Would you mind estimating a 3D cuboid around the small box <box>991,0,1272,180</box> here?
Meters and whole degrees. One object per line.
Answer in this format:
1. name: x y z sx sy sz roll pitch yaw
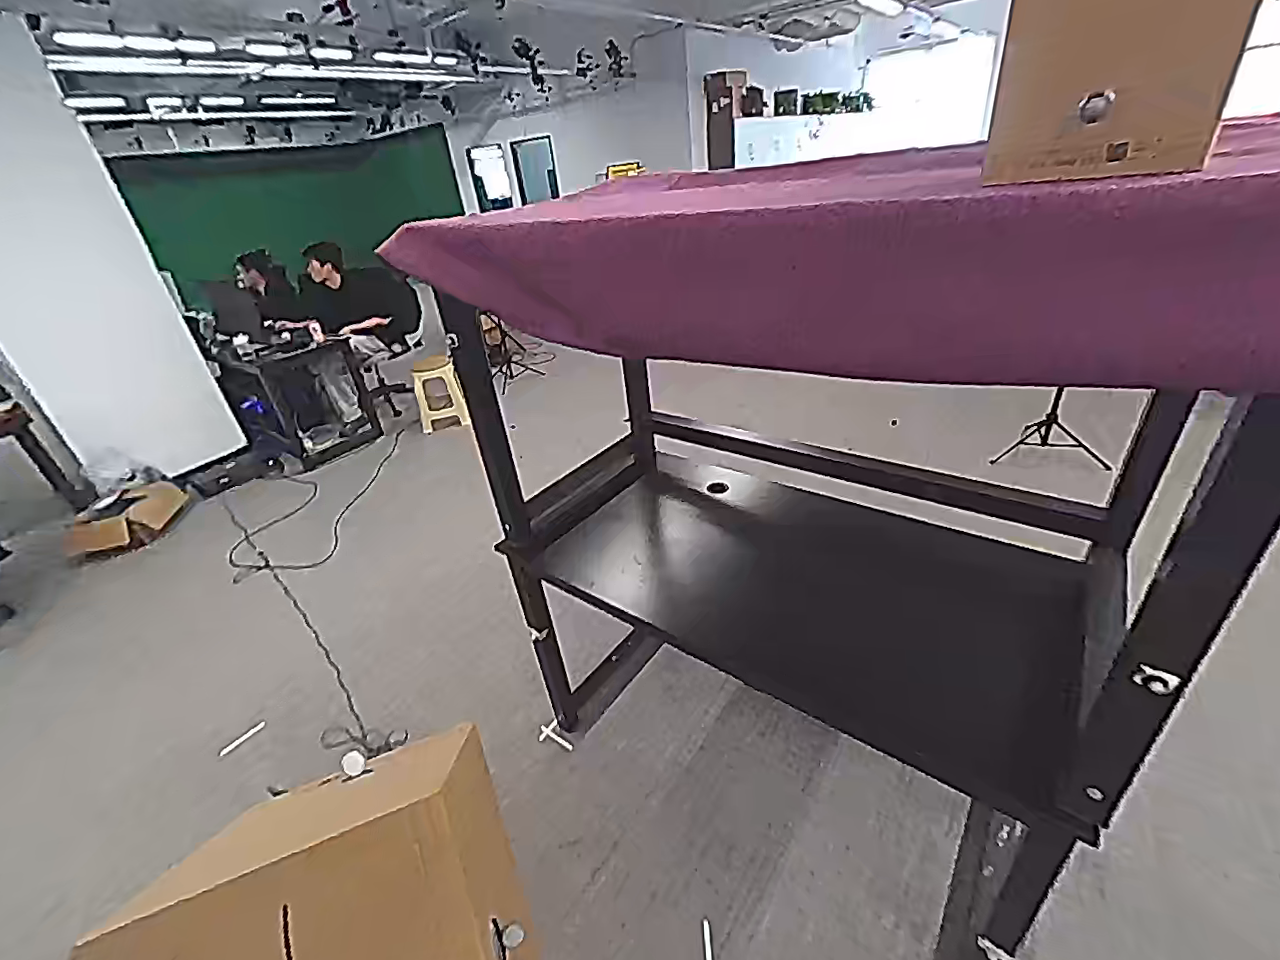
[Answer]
1. small box: 0.451 -0.382 0.501 0.168 0.176 0.179 19 38 38
